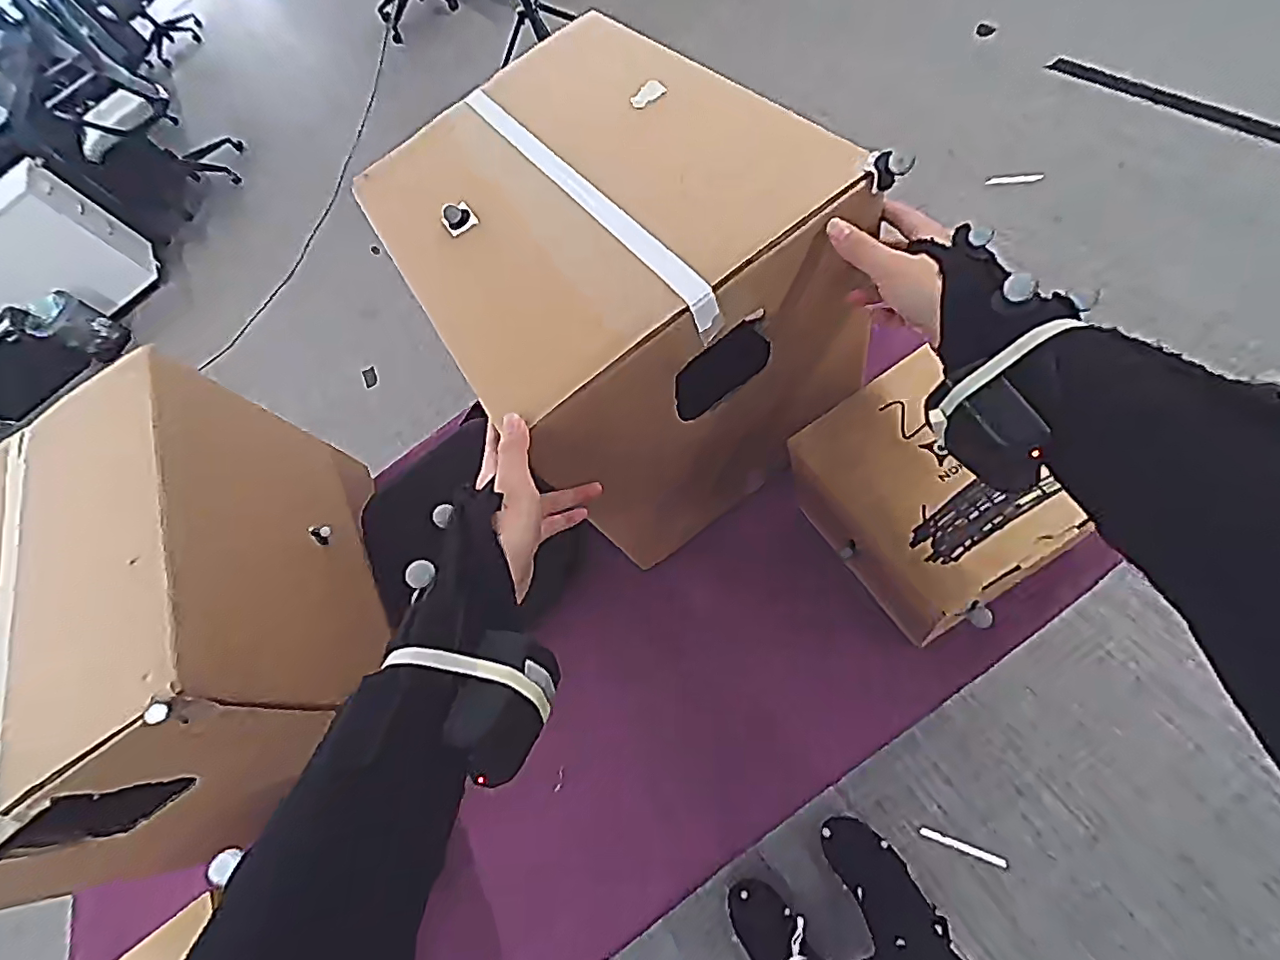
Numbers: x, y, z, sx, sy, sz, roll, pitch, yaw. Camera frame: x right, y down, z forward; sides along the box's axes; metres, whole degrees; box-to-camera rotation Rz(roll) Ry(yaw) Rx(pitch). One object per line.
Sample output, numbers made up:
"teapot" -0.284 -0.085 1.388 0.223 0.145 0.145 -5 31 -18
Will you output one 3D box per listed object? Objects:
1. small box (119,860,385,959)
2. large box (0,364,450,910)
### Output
"small box" -0.363 0.489 0.490 0.179 0.176 0.168 -38 58 0
"large box" -0.486 0.158 0.610 0.320 0.320 0.408 -36 62 2
